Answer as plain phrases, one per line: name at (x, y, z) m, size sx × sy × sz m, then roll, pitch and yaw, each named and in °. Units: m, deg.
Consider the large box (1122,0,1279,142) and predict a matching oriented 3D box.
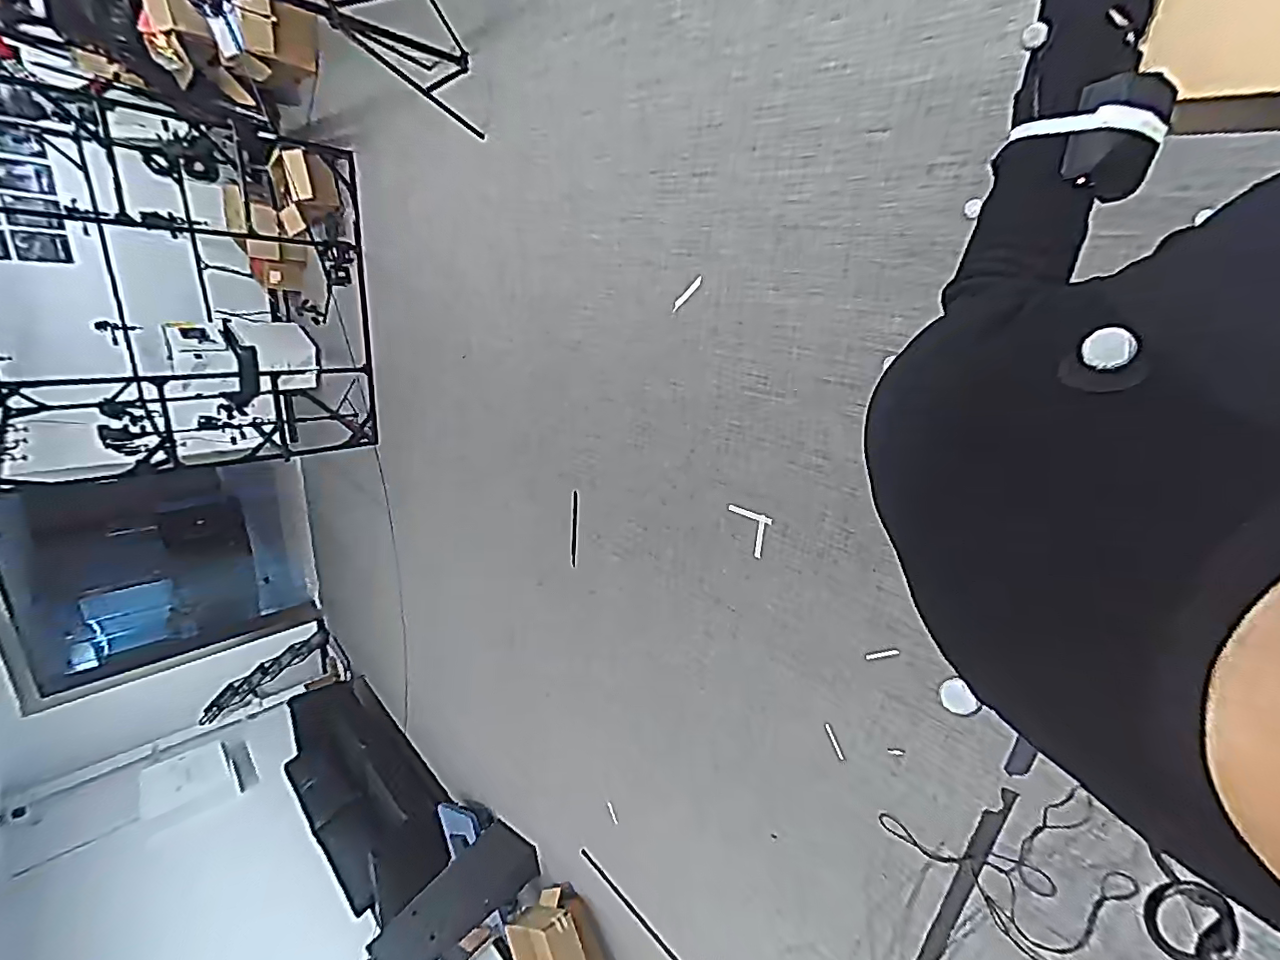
large box at (0.598, -0.402, 0.314) m, size 0.408 × 0.320 × 0.320 m, roll 22°, pitch 126°, yaw 36°
